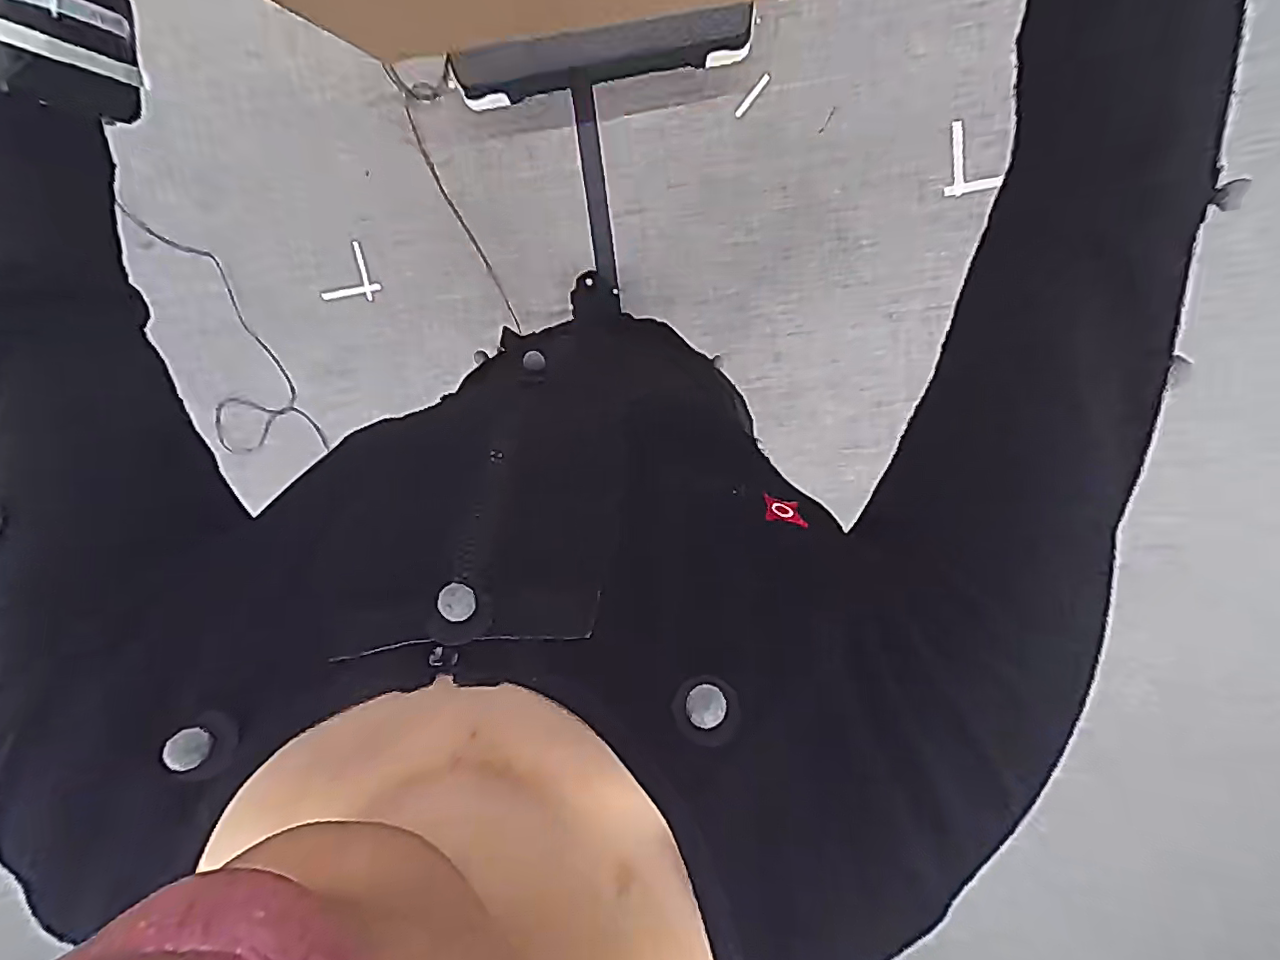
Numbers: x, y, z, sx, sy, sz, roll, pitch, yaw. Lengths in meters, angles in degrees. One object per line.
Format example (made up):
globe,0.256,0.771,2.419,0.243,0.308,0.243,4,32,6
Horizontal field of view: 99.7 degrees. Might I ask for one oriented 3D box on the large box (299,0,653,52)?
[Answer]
large box,-0.080,-0.504,0.309,0.408,0.320,0.320,-7,117,4
